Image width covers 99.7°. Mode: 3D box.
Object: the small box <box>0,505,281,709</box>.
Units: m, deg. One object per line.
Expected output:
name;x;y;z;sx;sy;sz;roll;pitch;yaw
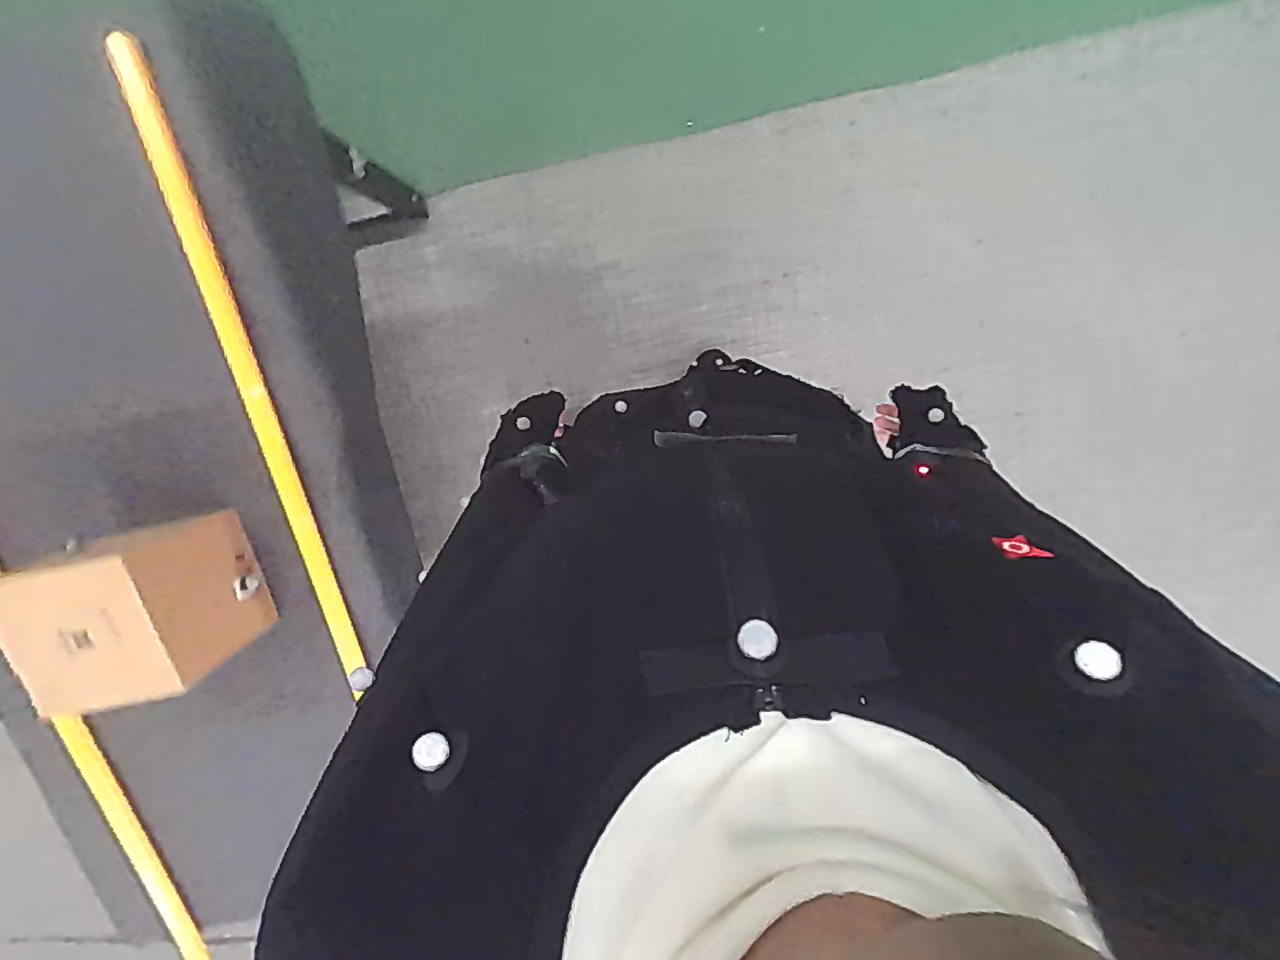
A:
small box;-0.596;0.144;0.660;0.179;0.176;0.168;-13;104;3
